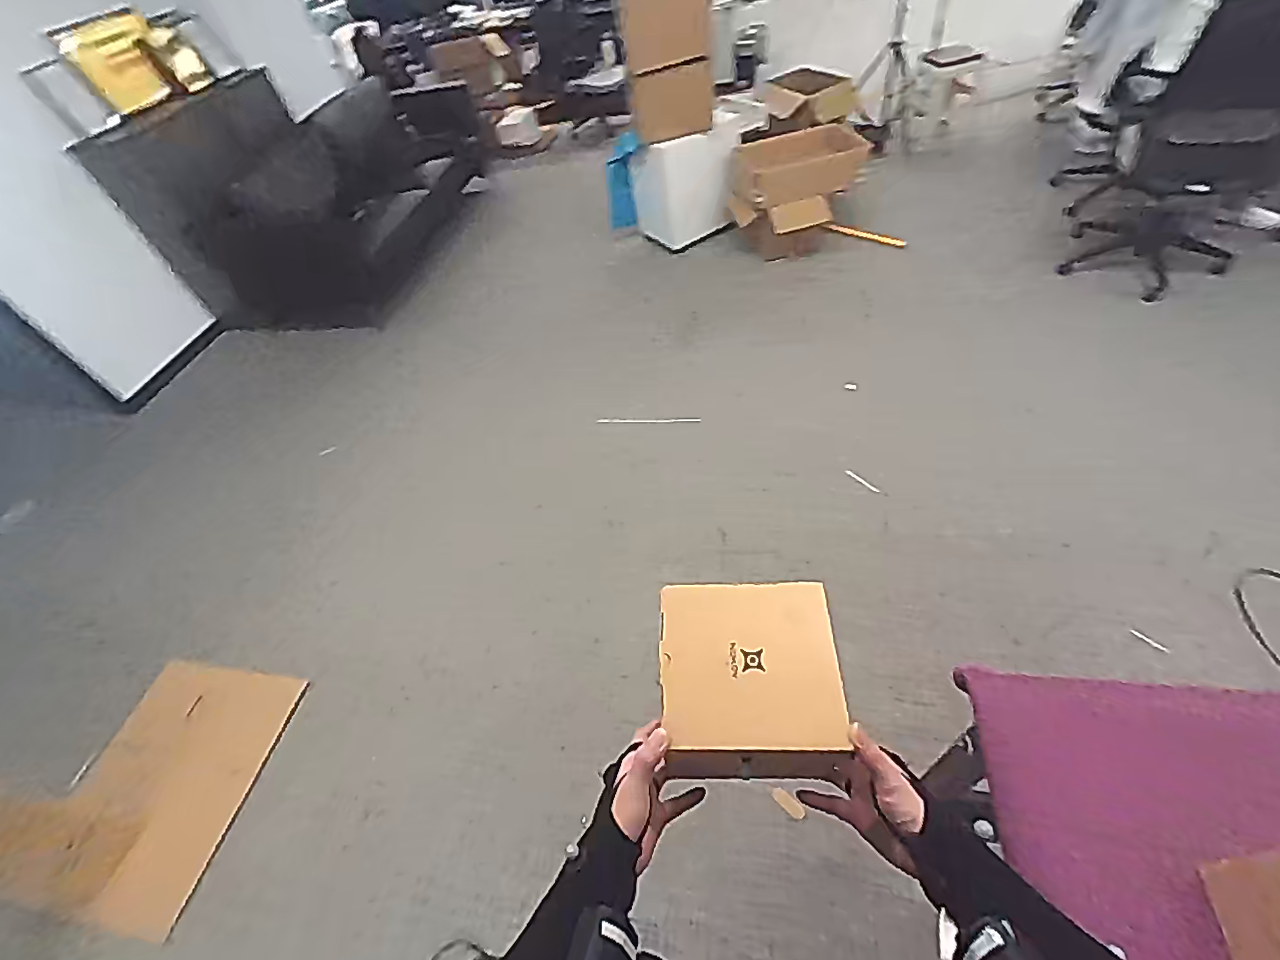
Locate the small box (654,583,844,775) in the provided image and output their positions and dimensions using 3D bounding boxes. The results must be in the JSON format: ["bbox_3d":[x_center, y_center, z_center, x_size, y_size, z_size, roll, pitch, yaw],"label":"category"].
[{"bbox_3d":[0.109,0.227,0.606,0.179,0.176,0.168,-4,54,6],"label":"small box"}]

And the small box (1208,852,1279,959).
[{"bbox_3d":[0.724,0.481,0.518,0.168,0.176,0.179,2,51,14],"label":"small box"}]
